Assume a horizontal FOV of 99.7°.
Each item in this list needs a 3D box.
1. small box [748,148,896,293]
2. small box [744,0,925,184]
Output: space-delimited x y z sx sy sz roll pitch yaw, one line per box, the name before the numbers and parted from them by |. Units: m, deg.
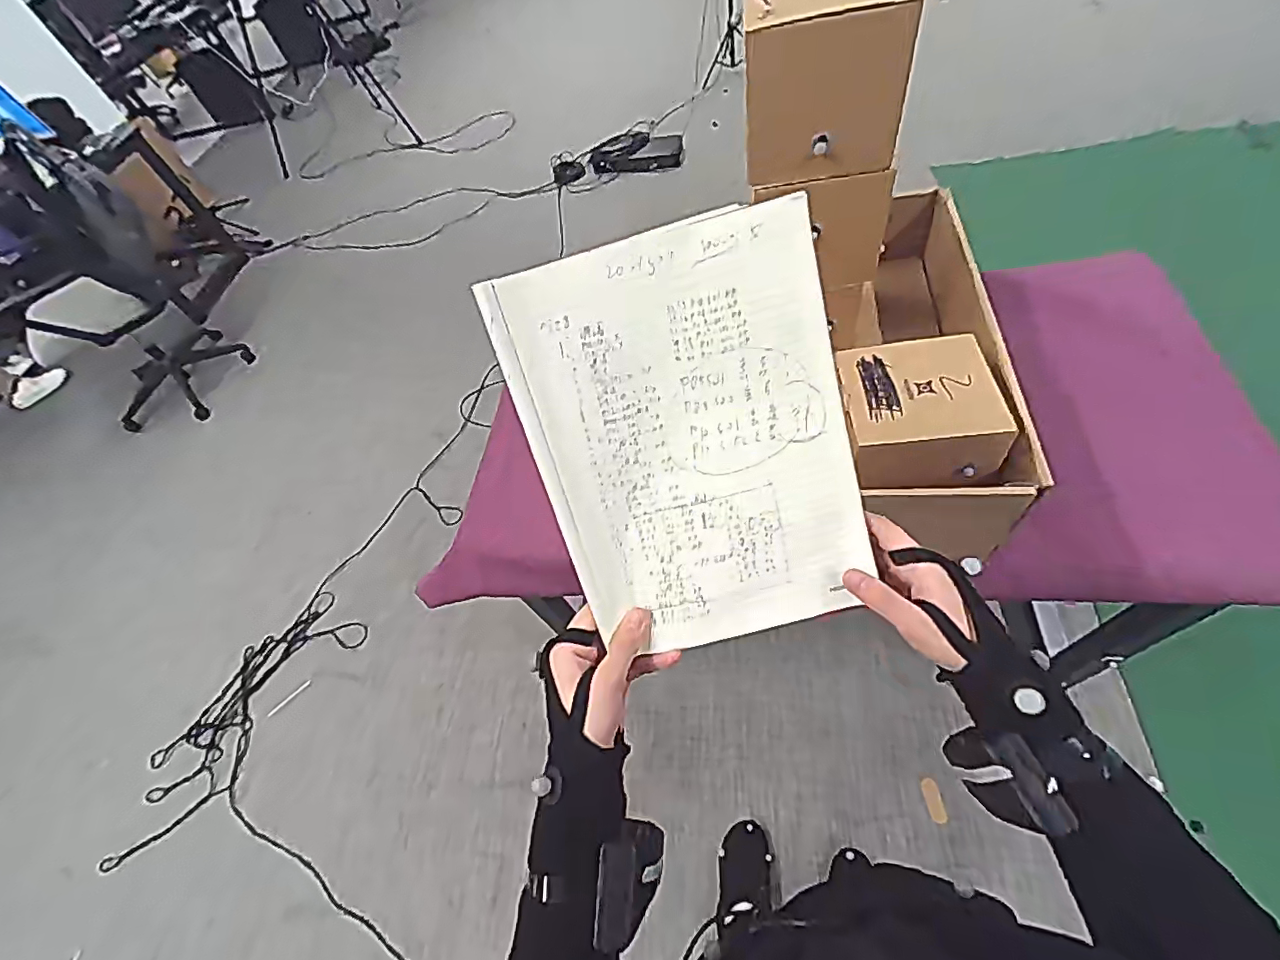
small box | 0.249 -0.397 0.785 0.179 0.176 0.168 -3 57 11
small box | 0.216 -0.488 0.653 0.179 0.176 0.168 0 57 11
